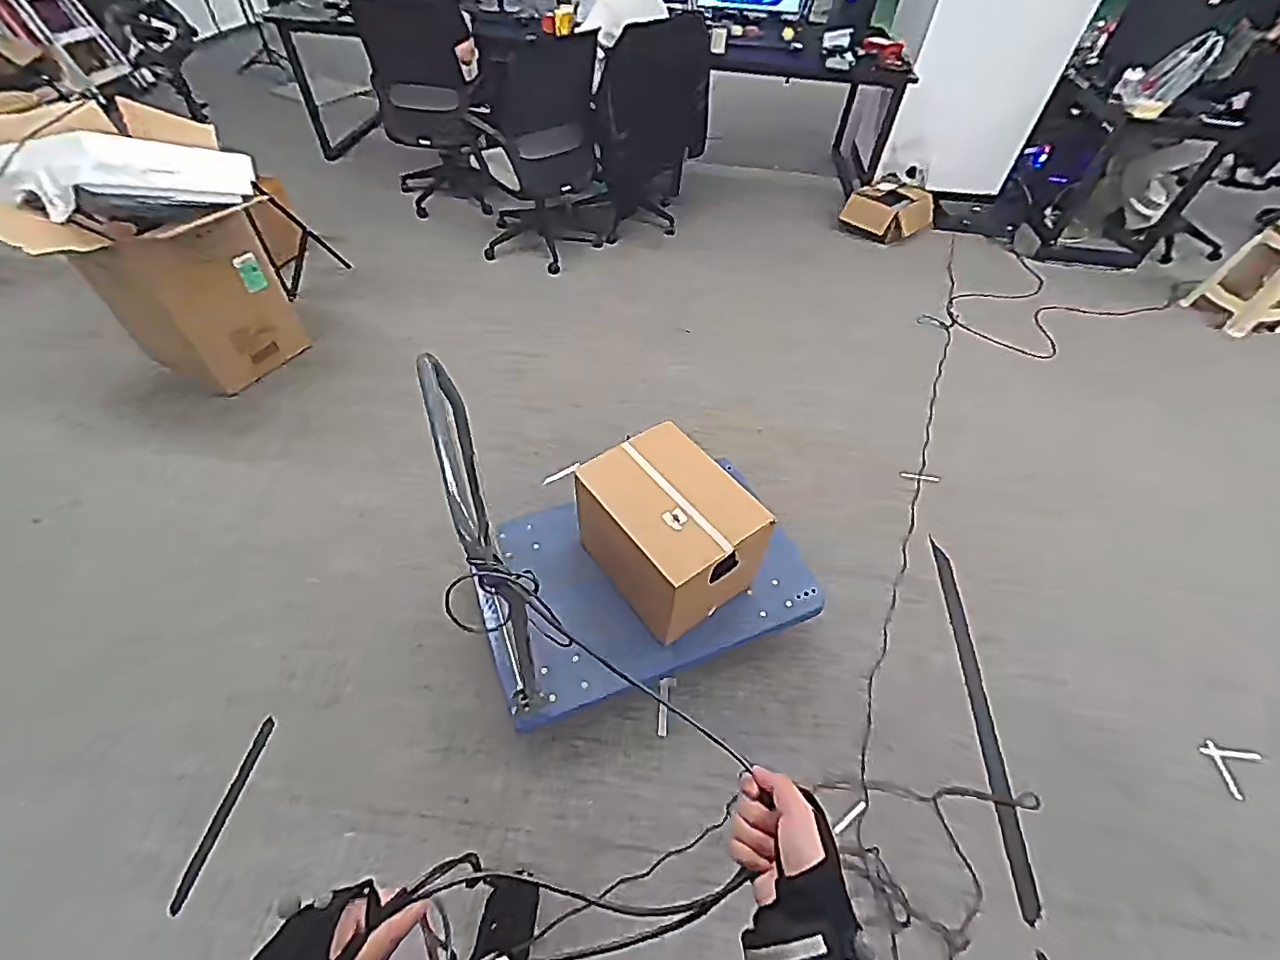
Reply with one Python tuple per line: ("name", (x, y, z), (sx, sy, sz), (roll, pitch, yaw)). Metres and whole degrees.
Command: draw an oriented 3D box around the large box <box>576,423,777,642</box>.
("large box", (0.072, 0.130, 1.403), (0.320, 0.320, 0.408), (-30, 59, -24))
